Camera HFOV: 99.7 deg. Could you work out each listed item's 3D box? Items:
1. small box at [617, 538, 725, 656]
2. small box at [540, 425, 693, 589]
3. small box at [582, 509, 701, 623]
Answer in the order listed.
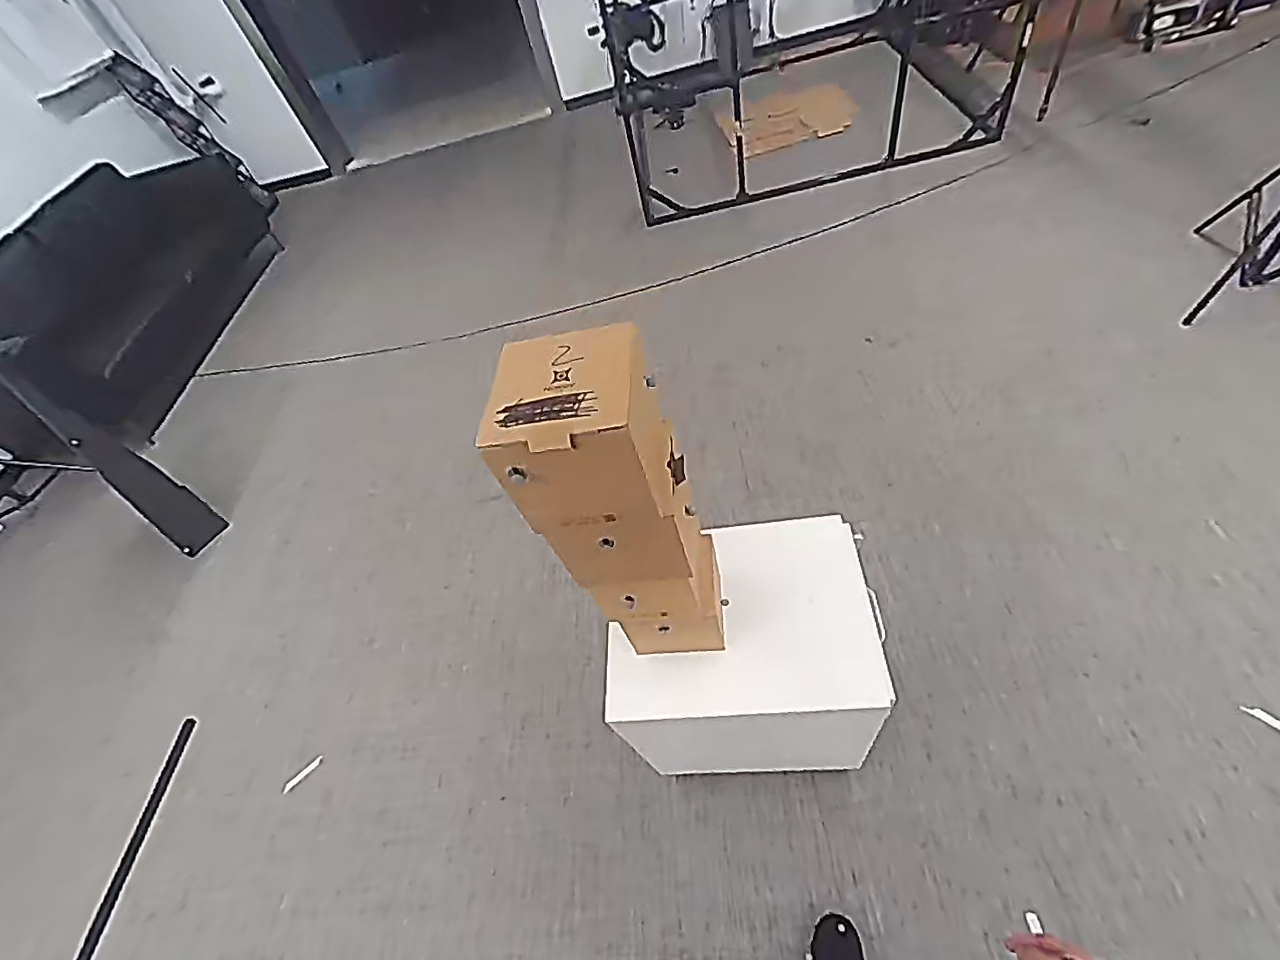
[{"bbox_3d":[0.064,0.229,1.039,0.179,0.176,0.168,-6,52,10],"label":"small box"},{"bbox_3d":[-0.025,0.046,0.782,0.179,0.176,0.168,-7,52,10],"label":"small box"},{"bbox_3d":[0.012,0.134,0.917,0.168,0.176,0.179,-5,51,12],"label":"small box"}]
